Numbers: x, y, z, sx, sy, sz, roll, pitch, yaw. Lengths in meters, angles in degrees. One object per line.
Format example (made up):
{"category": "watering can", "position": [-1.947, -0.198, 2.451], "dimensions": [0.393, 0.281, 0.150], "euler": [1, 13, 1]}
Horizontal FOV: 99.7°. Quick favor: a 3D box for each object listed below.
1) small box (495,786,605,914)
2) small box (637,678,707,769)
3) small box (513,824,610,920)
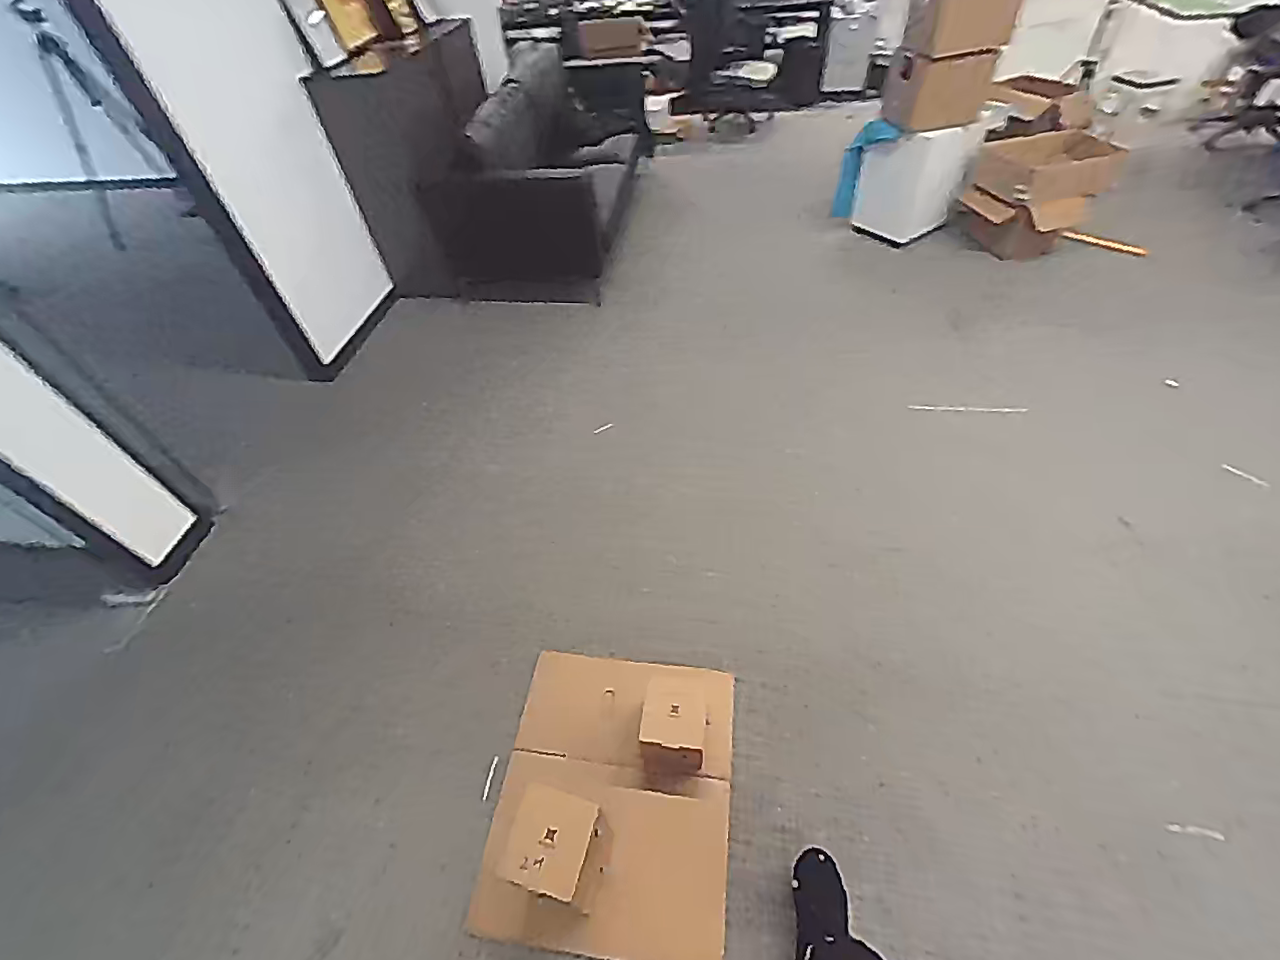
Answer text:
{"category": "small box", "position": [-0.179, 0.786, 1.149], "dimensions": [0.168, 0.176, 0.179], "euler": [9, 50, 14]}
{"category": "small box", "position": [0.093, 0.661, 1.461], "dimensions": [0.168, 0.176, 0.179], "euler": [5, 49, 9]}
{"category": "small box", "position": [-0.175, 0.898, 1.271], "dimensions": [0.168, 0.176, 0.179], "euler": [10, 50, 14]}
